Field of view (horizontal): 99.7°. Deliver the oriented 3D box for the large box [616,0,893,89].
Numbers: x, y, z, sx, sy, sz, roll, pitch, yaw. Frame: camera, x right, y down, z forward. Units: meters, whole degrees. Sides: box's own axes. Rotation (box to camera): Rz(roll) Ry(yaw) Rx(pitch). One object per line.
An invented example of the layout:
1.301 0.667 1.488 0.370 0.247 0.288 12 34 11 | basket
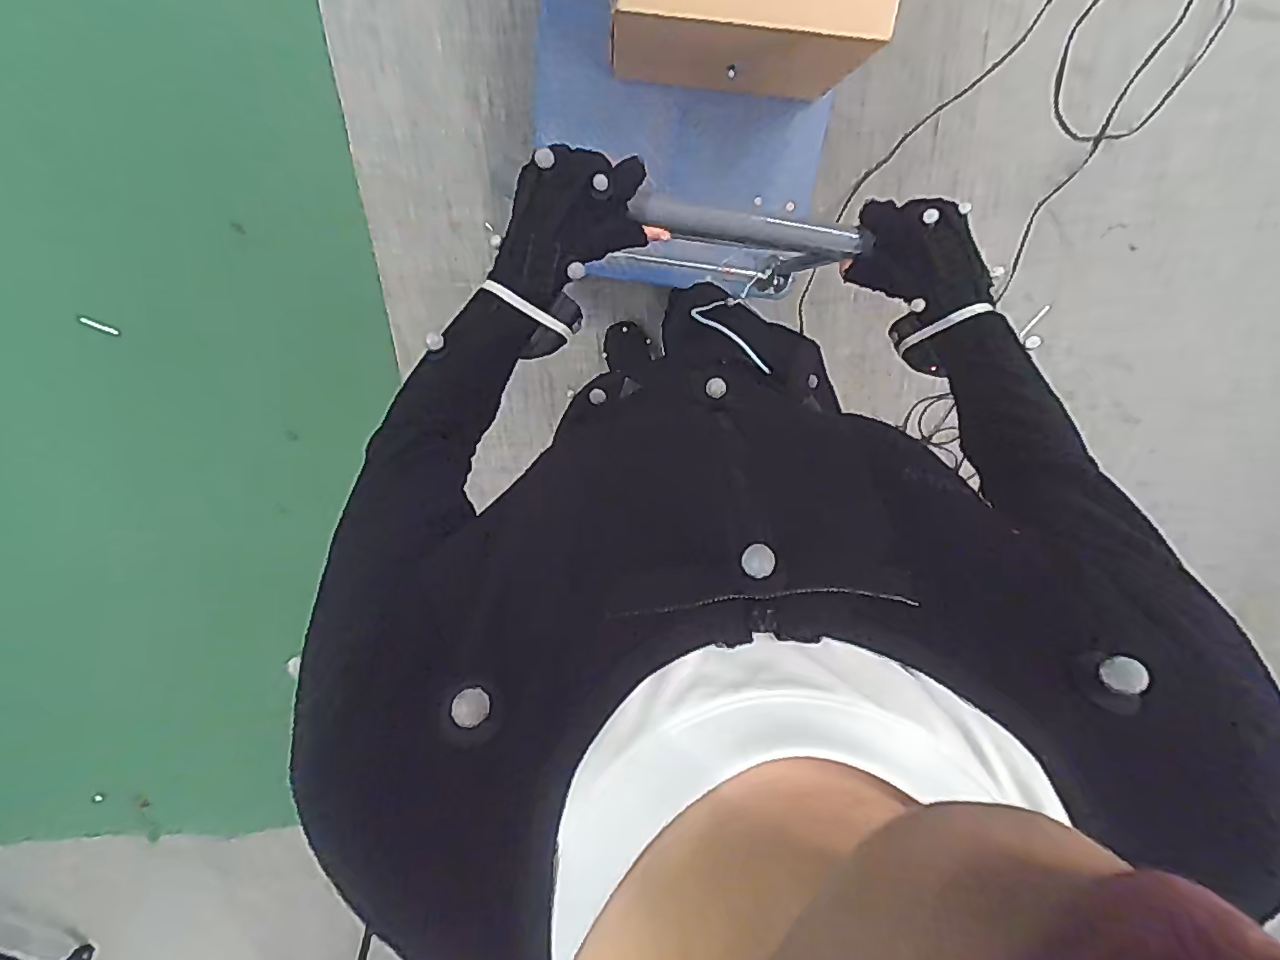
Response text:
0.170 -0.856 0.864 0.408 0.320 0.320 3 112 -3 | large box
